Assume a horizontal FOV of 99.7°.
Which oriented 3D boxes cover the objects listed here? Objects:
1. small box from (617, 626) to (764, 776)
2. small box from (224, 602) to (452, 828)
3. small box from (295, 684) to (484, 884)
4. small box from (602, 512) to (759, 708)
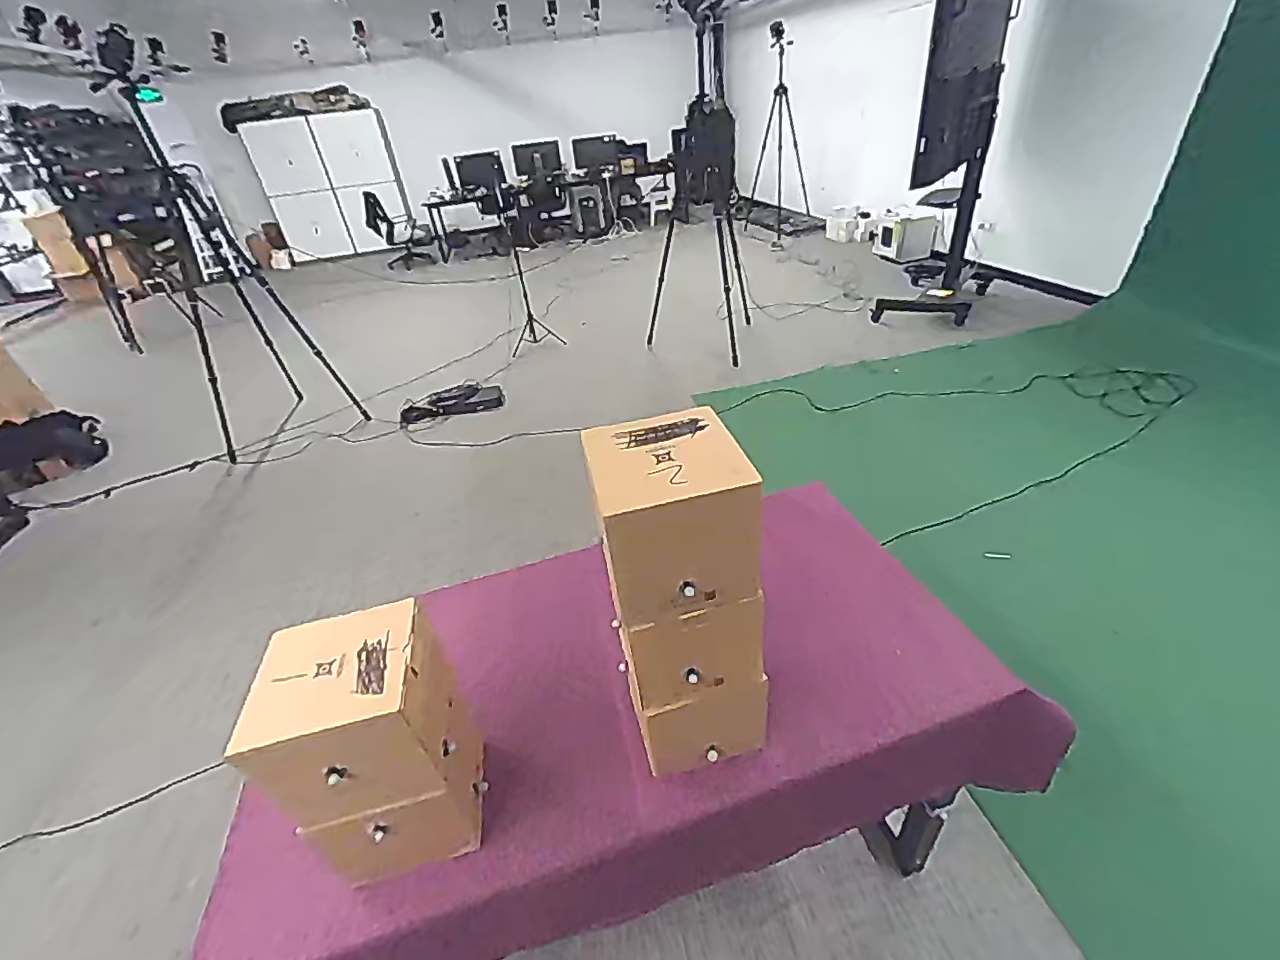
[{"bbox_3d":[0.073,0.312,0.824,0.179,0.176,0.168,-13,35,-9],"label":"small box"},{"bbox_3d":[-0.340,0.283,0.658,0.179,0.176,0.168,-14,36,-7],"label":"small box"},{"bbox_3d":[-0.327,0.419,0.748,0.179,0.176,0.168,-12,36,-8],"label":"small box"},{"bbox_3d":[0.051,0.174,0.740,0.168,0.176,0.179,-13,36,-8],"label":"small box"}]
